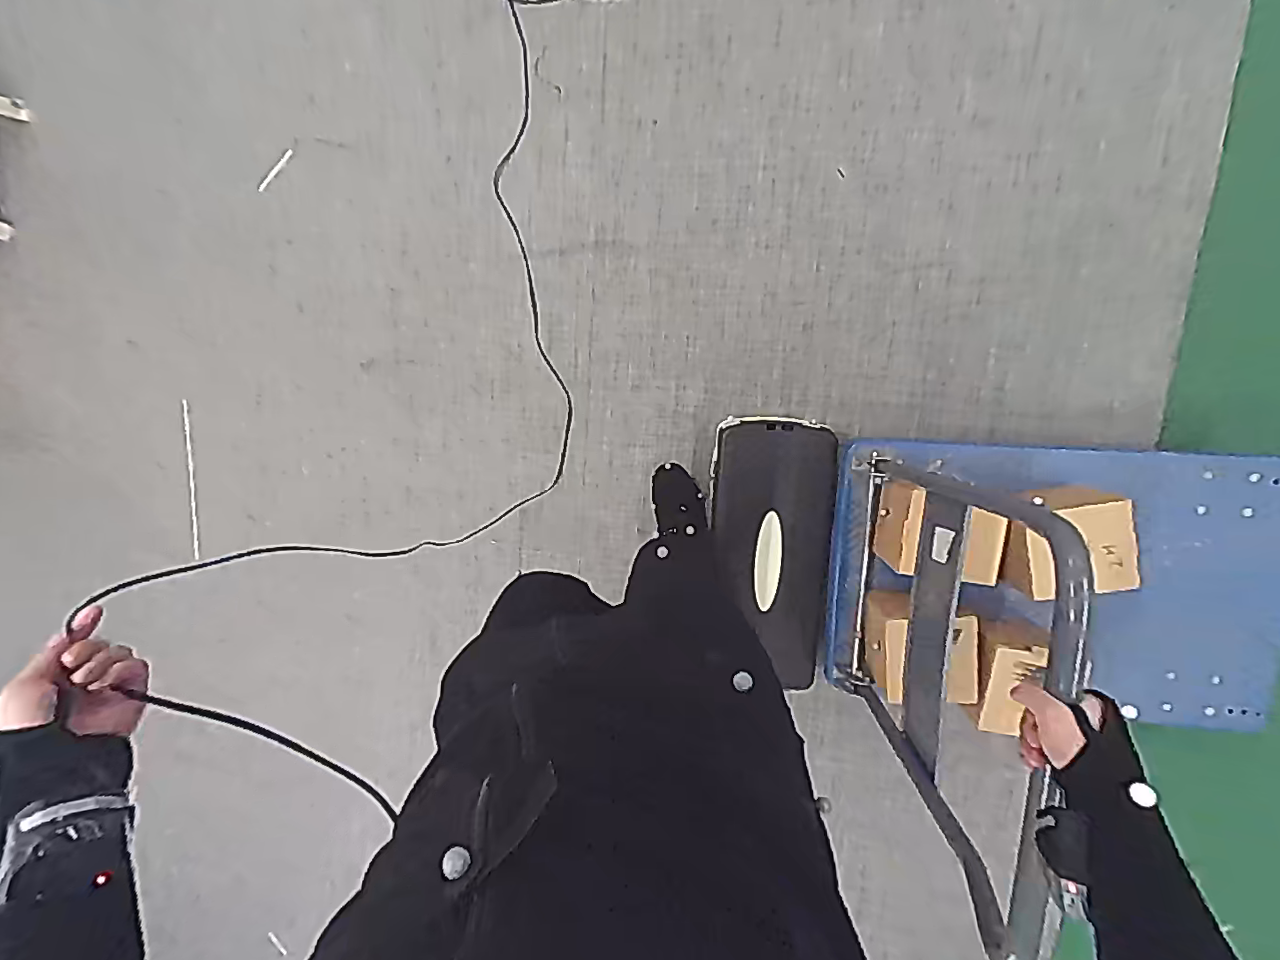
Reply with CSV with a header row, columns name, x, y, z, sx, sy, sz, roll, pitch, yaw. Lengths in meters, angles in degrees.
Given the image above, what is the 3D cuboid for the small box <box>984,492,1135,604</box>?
name,x,y,z,sx,sy,sz,roll,pitch,yaw
small box,0.791,0.124,1.041,0.179,0.176,0.168,-9,97,9
